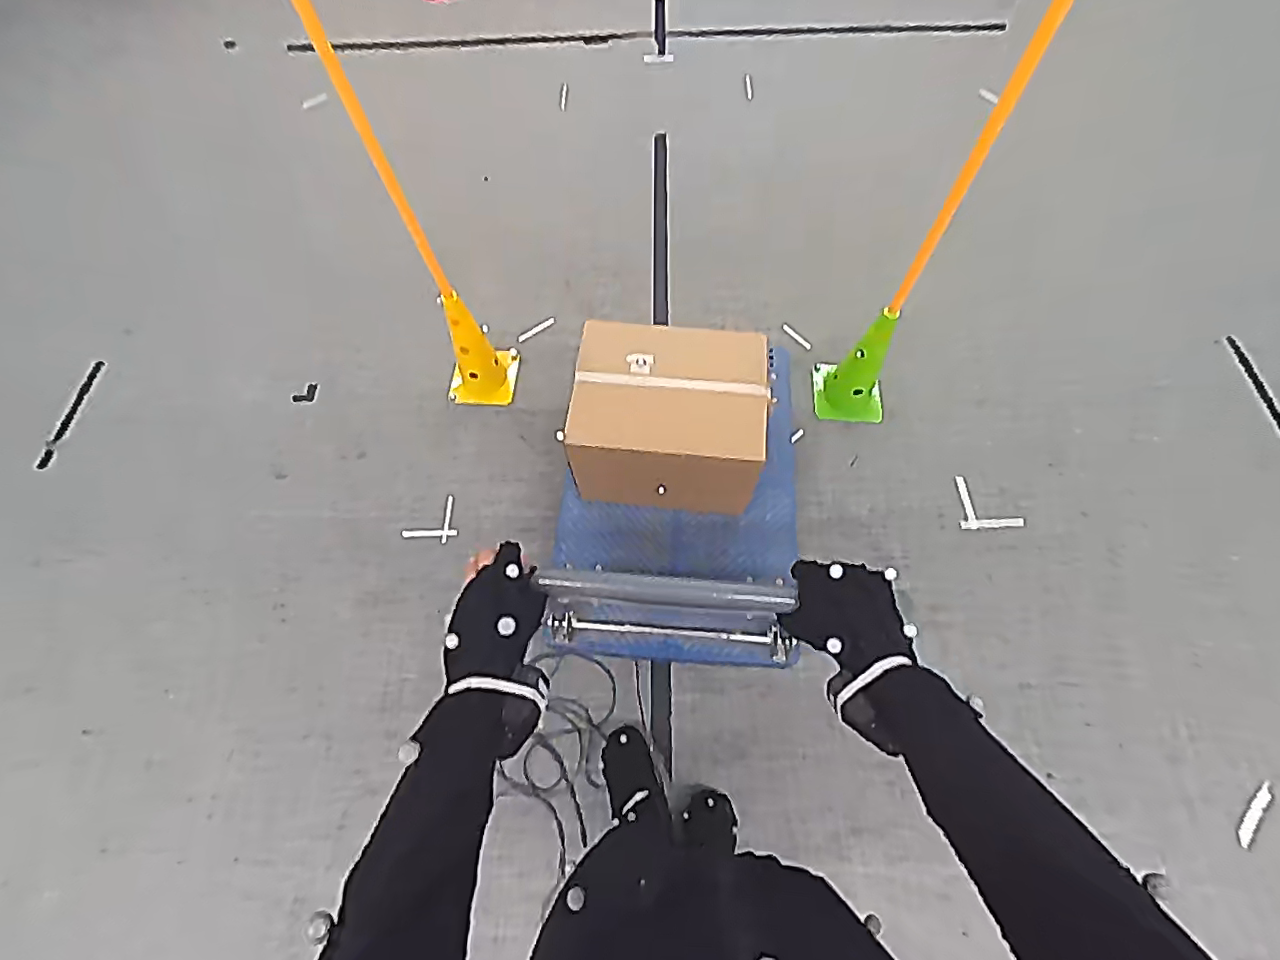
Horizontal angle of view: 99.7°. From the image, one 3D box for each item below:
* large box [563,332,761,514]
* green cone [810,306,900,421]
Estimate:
[{"bbox_3d":[0.062,-0.123,1.278,0.408,0.320,0.320,5,66,5],"label":"large box"},{"bbox_3d":[0.632,-0.345,1.523,0.202,0.368,0.200,4,65,2],"label":"green cone"}]
